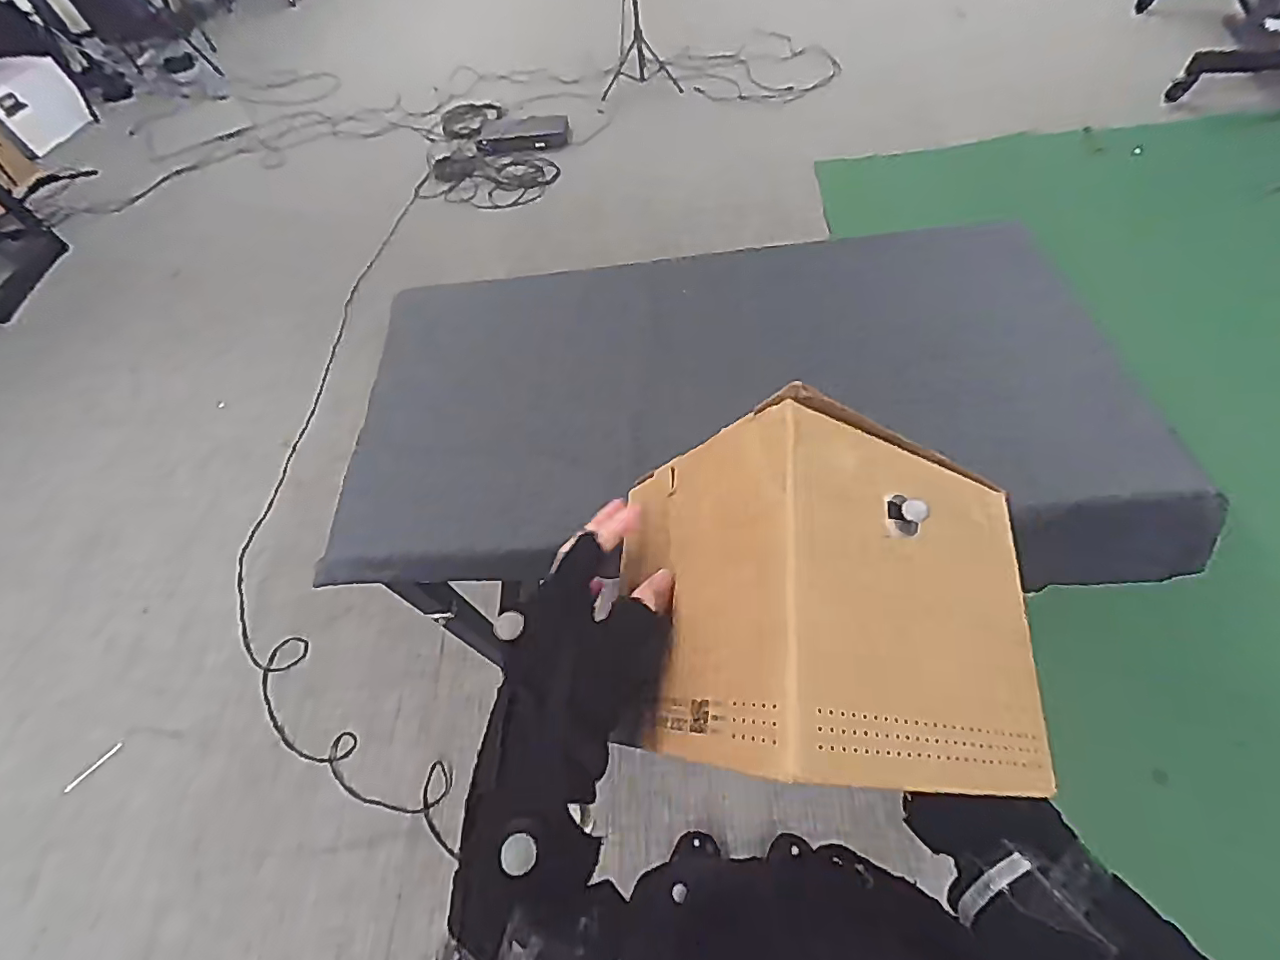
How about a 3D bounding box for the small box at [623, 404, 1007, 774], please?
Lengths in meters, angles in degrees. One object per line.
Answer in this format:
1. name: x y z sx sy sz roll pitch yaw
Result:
1. small box: 0.099 0.082 0.345 0.179 0.168 0.176 18 65 -24
